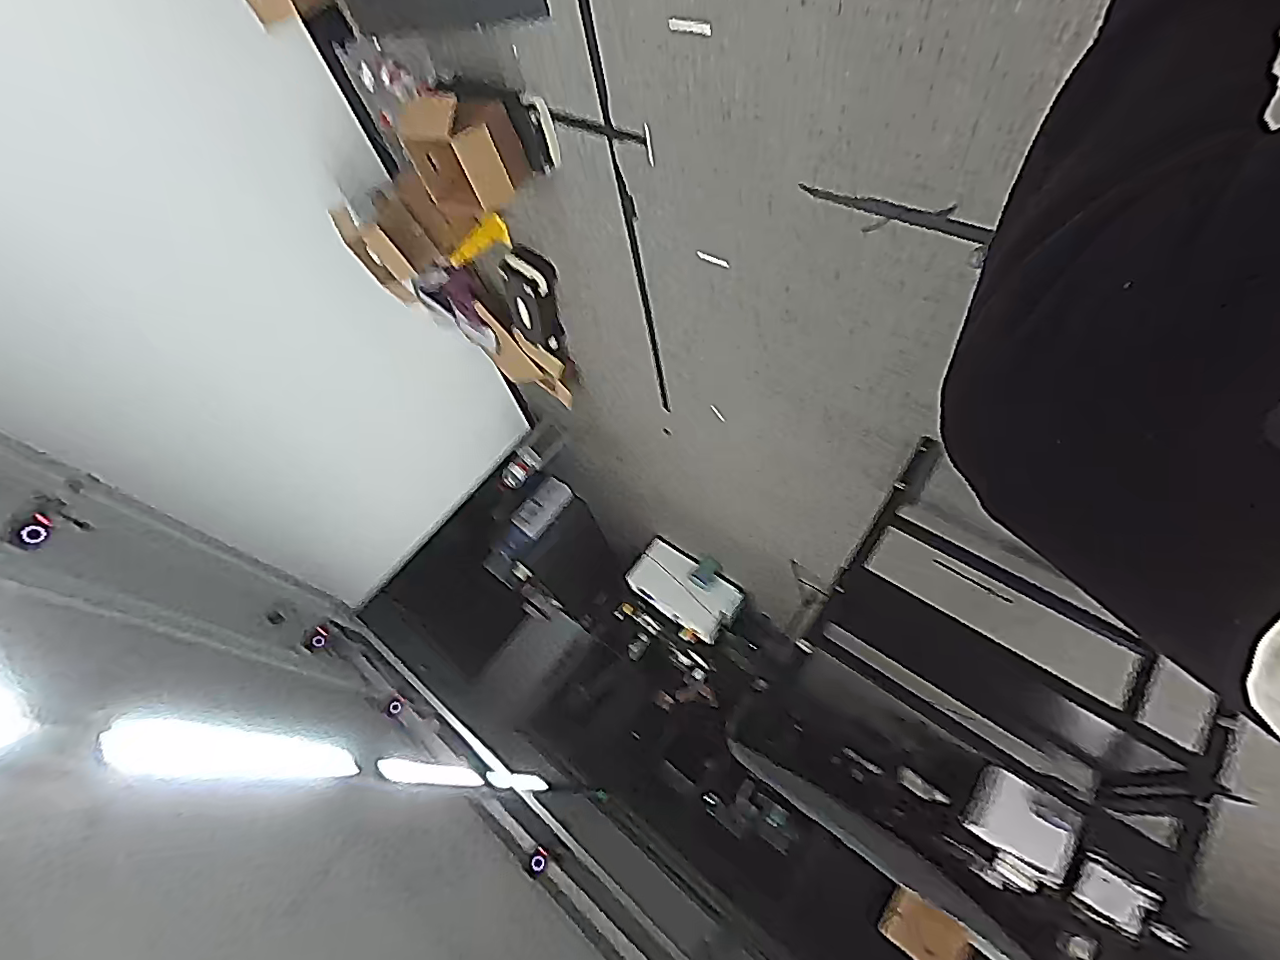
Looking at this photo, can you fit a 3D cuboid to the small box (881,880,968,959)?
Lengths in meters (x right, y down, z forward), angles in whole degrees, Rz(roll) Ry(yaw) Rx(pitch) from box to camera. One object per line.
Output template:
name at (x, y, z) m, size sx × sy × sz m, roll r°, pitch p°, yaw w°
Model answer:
small box at (0.928, 1.458, 1.768) m, size 0.179 × 0.176 × 0.168 m, roll 31°, pitch 160°, yaw 23°
